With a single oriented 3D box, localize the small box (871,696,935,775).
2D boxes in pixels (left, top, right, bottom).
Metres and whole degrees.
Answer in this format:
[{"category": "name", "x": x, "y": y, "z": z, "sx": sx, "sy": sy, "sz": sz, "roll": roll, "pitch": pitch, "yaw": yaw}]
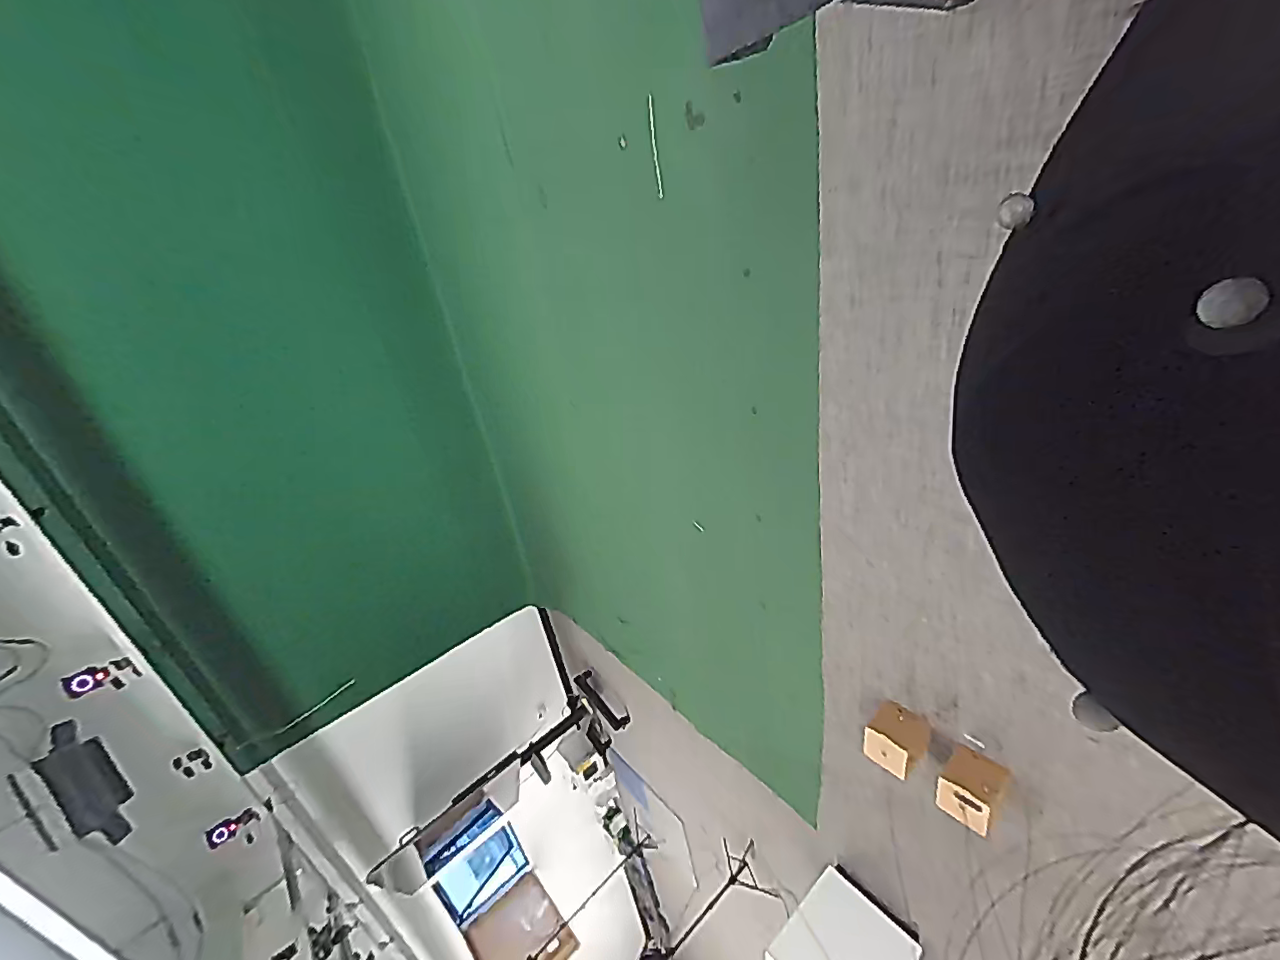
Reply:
[{"category": "small box", "x": 1.016, "y": 0.983, "z": 2.088, "sx": 0.168, "sy": 0.176, "sz": 0.179, "roll": 24, "pitch": 132, "yaw": 46}]
